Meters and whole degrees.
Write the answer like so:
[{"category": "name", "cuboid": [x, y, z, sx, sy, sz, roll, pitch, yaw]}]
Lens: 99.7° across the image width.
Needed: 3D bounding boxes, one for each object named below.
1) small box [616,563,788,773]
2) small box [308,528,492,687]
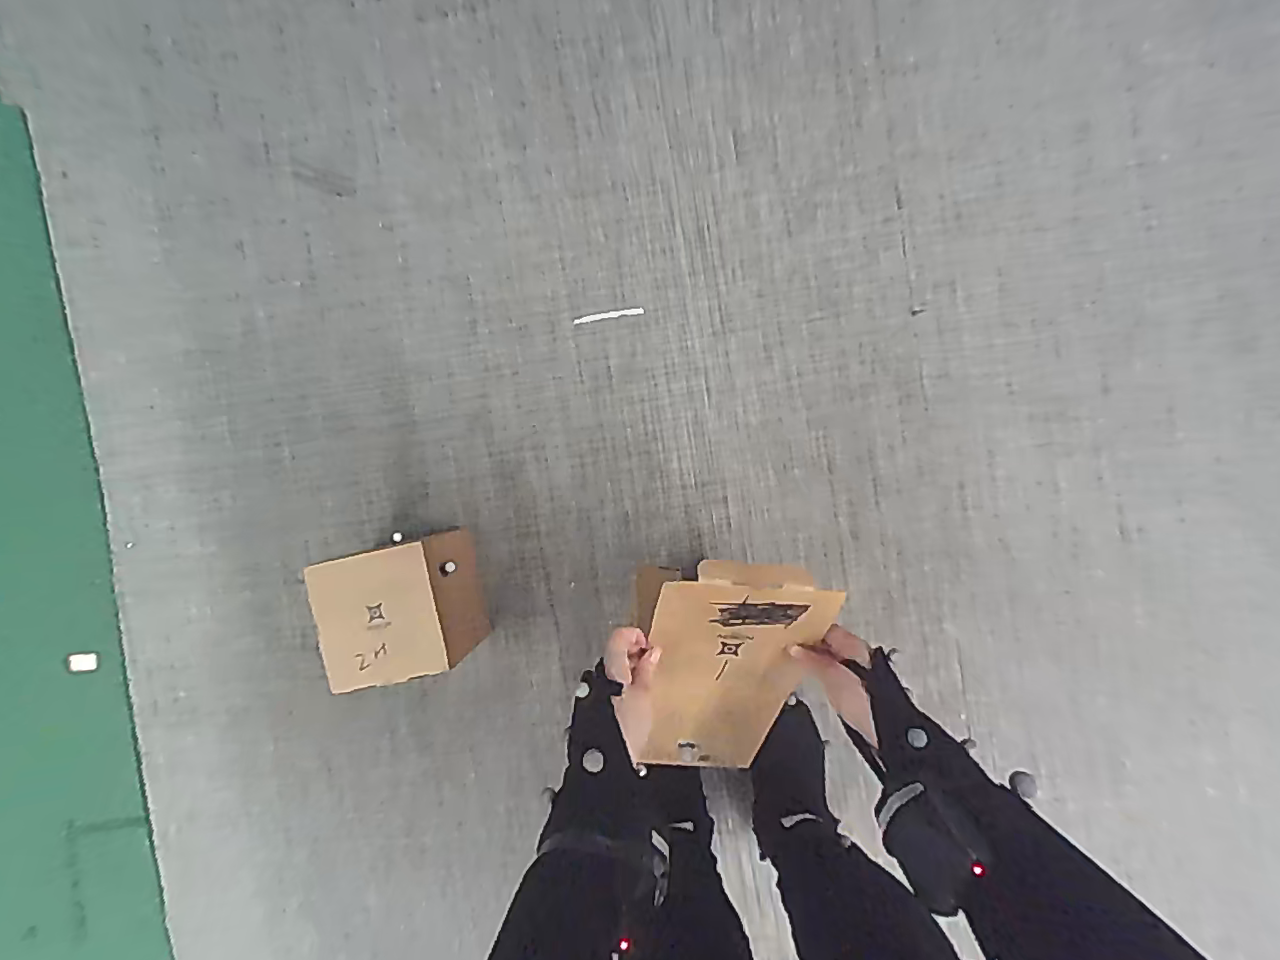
[{"category": "small box", "cuboid": [0.062, 0.229, 0.670, 0.168, 0.179, 0.176, 6, 127, -5]}, {"category": "small box", "cuboid": [-0.332, 0.169, 0.778, 0.168, 0.176, 0.179, -12, 91, 4]}]
